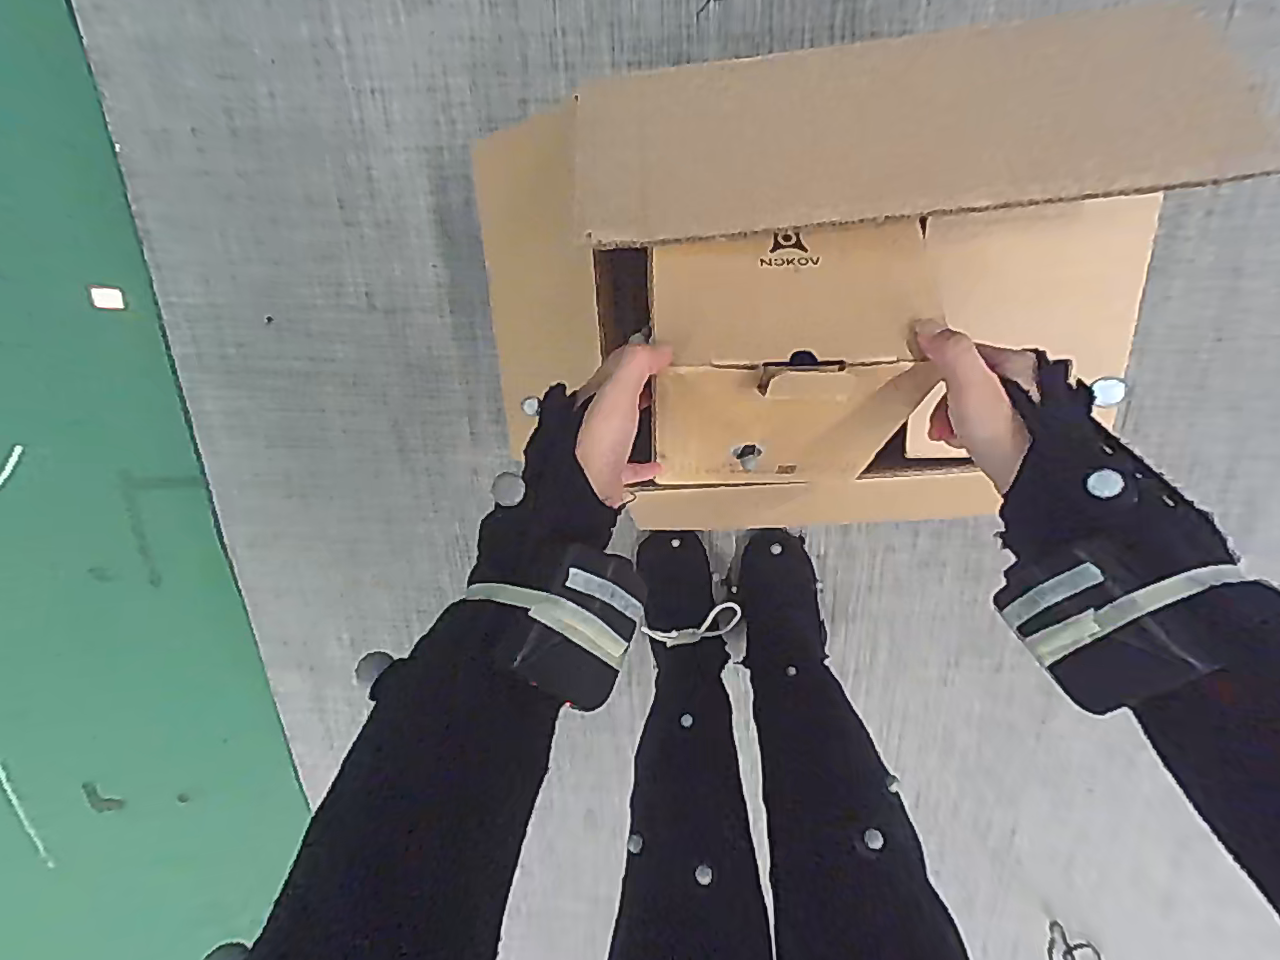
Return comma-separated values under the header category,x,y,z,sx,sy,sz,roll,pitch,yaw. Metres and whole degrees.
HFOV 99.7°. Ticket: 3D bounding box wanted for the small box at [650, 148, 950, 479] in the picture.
category,x,y,z,sx,sy,sz,roll,pitch,yaw
small box,0.092,-0.113,0.406,0.168,0.176,0.179,-1,68,1
